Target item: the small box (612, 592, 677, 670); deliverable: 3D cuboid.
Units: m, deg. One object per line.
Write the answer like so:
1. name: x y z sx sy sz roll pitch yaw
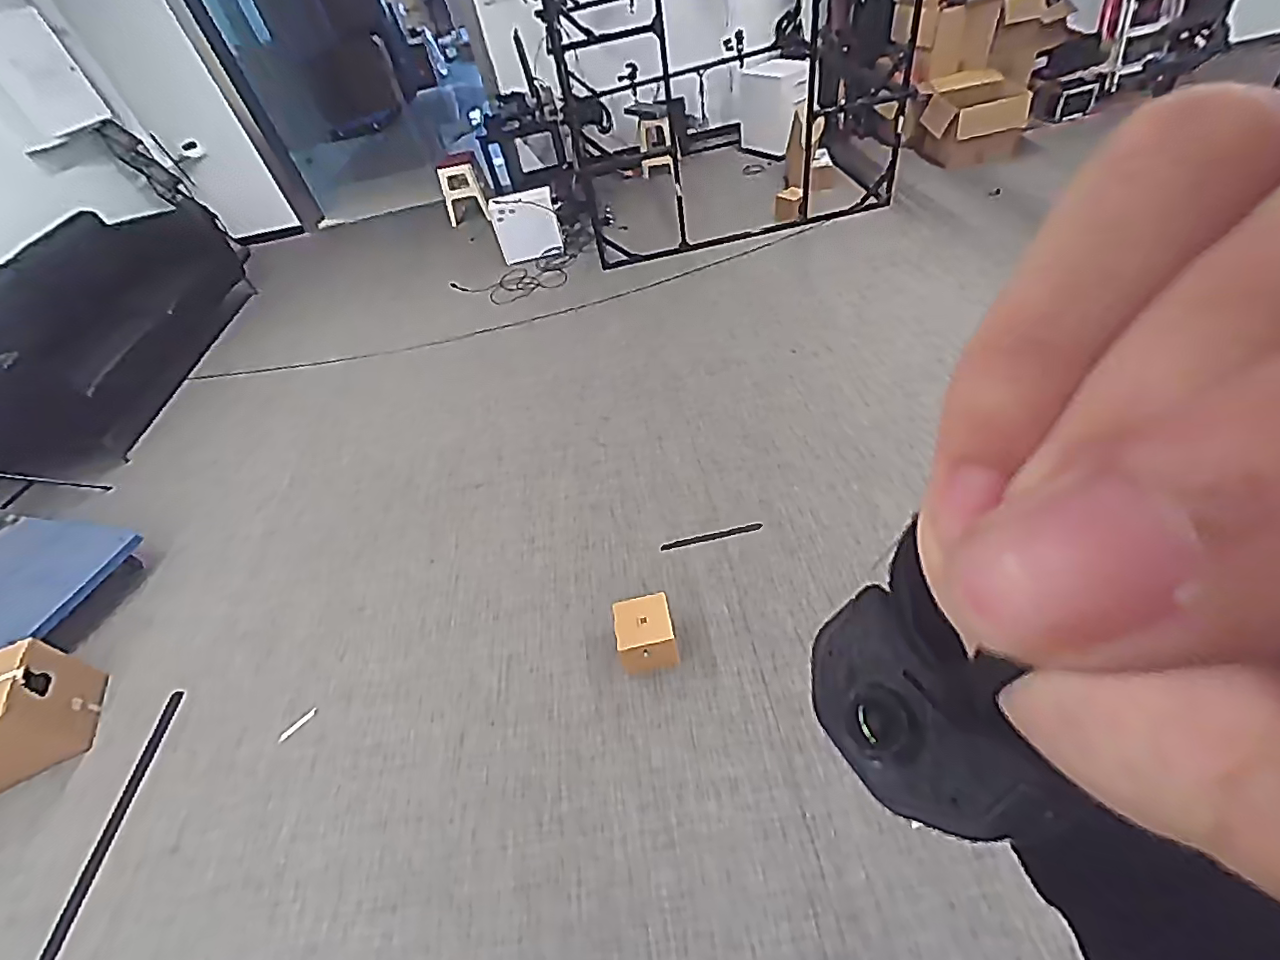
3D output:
1. small box: 0.019 0.484 1.726 0.179 0.176 0.168 -14 46 2
